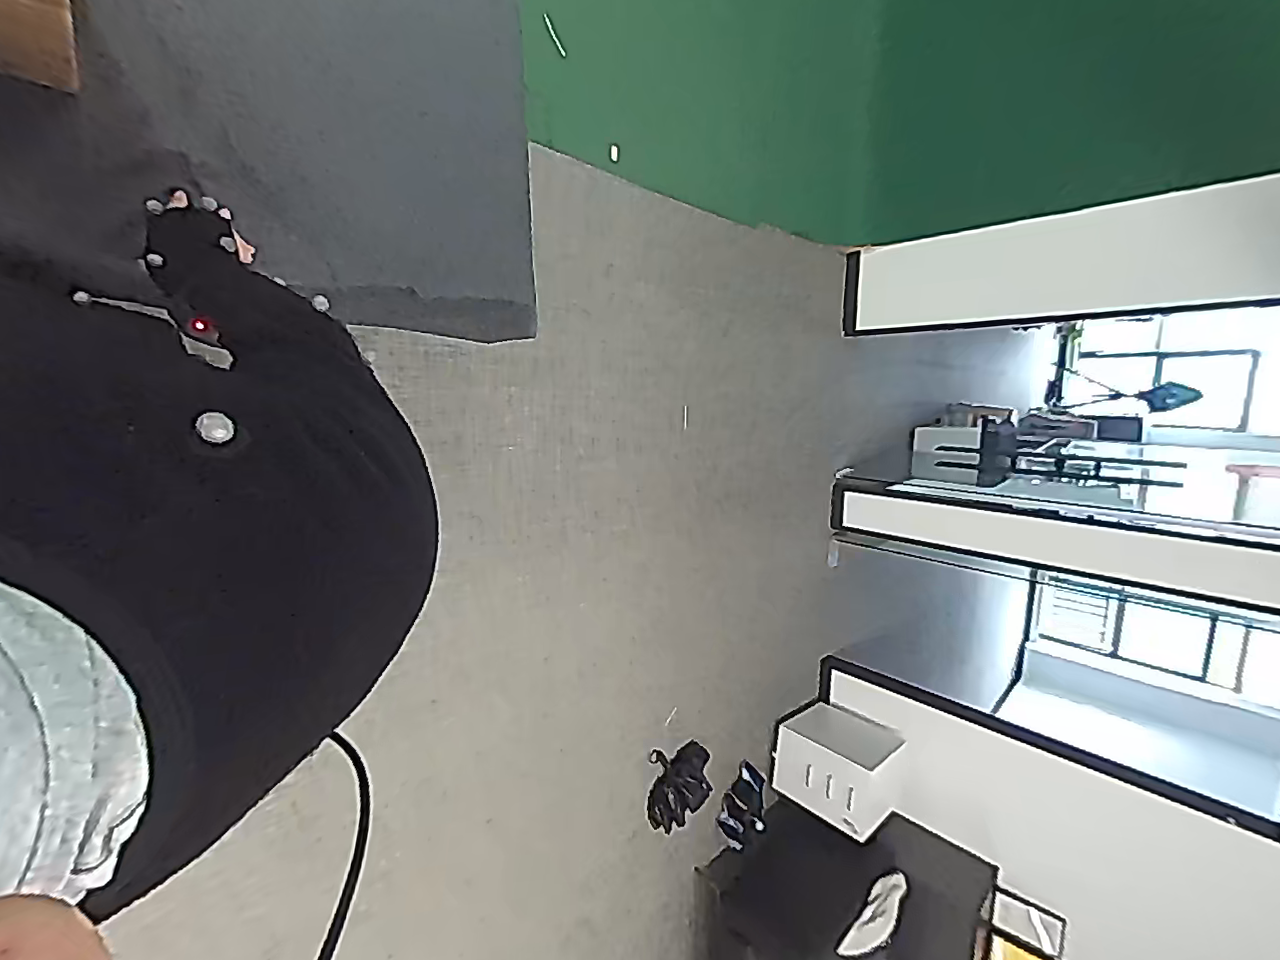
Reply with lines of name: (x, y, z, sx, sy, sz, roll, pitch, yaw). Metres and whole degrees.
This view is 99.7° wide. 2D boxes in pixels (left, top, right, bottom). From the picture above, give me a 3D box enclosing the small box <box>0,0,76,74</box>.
small box: (-0.579, -0.473, 0.431, 0.168, 0.176, 0.179, -7, 103, -44)
